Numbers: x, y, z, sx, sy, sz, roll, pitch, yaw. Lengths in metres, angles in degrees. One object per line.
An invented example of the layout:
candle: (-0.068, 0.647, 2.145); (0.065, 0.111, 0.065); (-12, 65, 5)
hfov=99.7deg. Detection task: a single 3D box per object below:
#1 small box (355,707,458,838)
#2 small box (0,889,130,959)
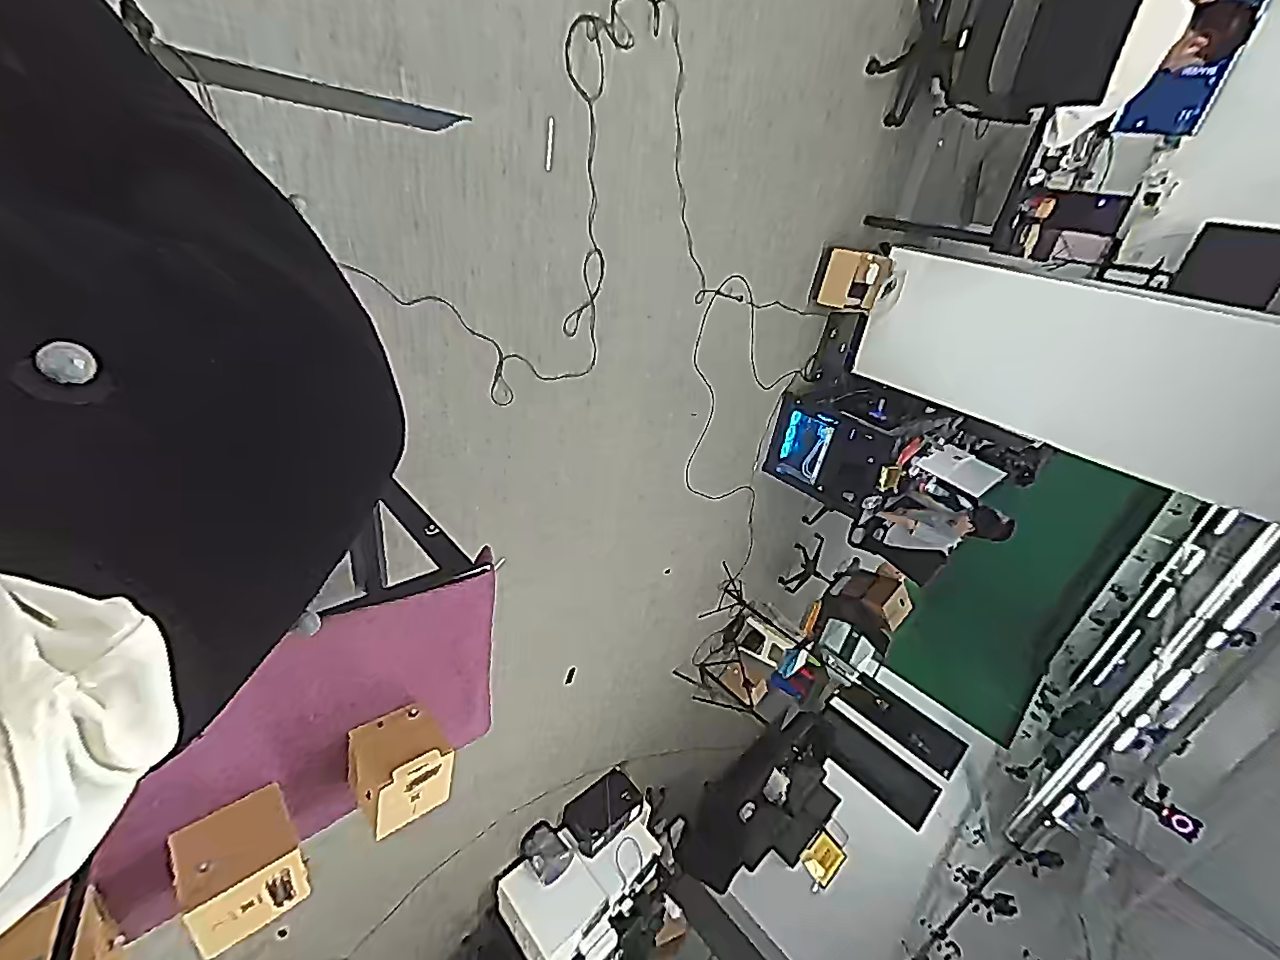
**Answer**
small box: (-0.535, 0.649, 1.232); (0.168, 0.176, 0.179); (-12, 125, -44)
small box: (-0.955, 0.824, 0.873); (0.179, 0.176, 0.168); (-19, 127, -42)
